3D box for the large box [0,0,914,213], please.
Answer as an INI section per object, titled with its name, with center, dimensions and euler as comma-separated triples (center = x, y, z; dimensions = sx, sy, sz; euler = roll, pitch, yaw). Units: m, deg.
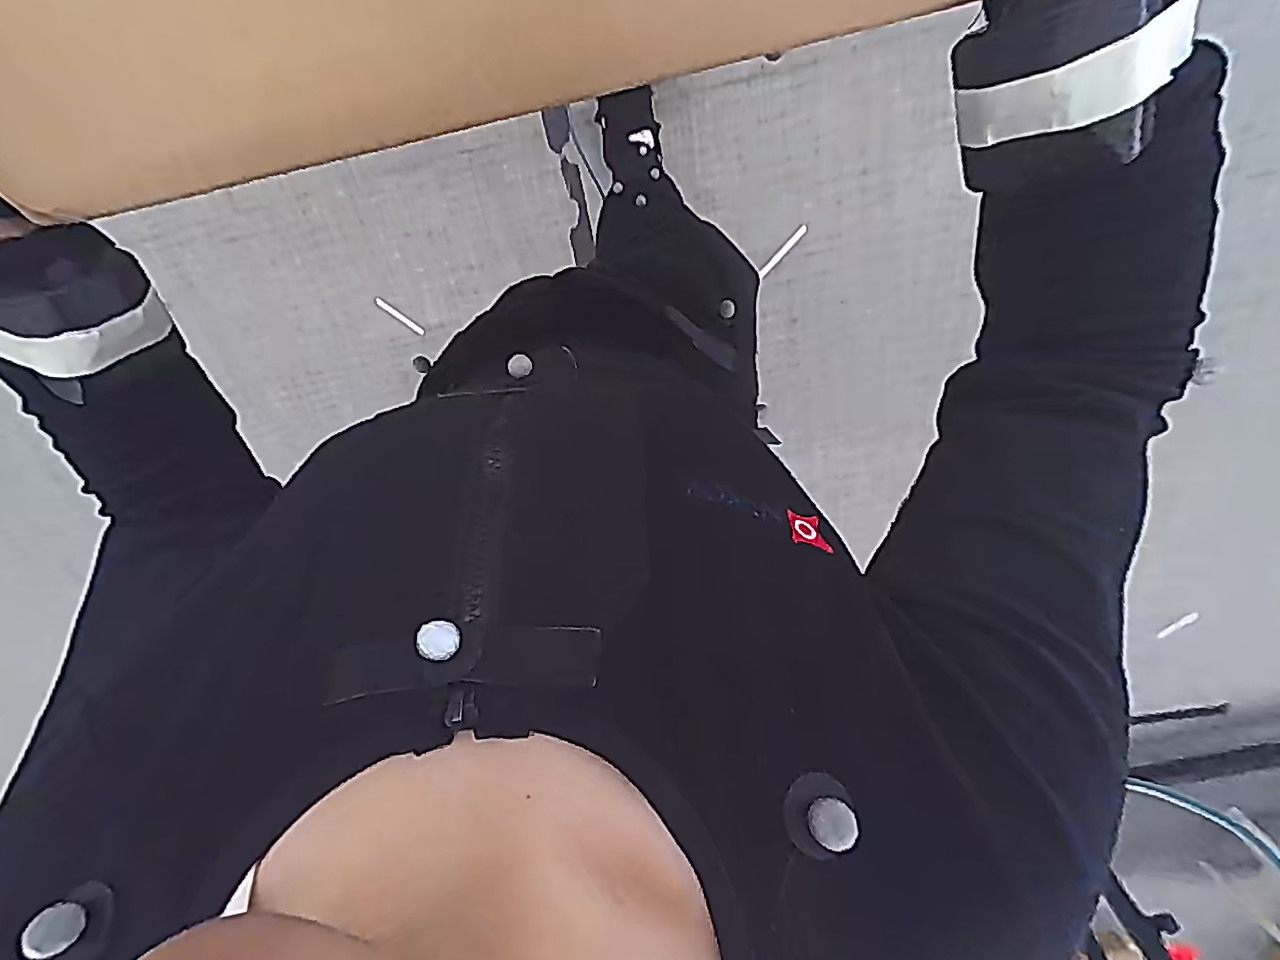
[large box]
center = -0.104, -0.363, 0.203
dimensions = 0.408, 0.320, 0.320
euler = -9, 139, 6
